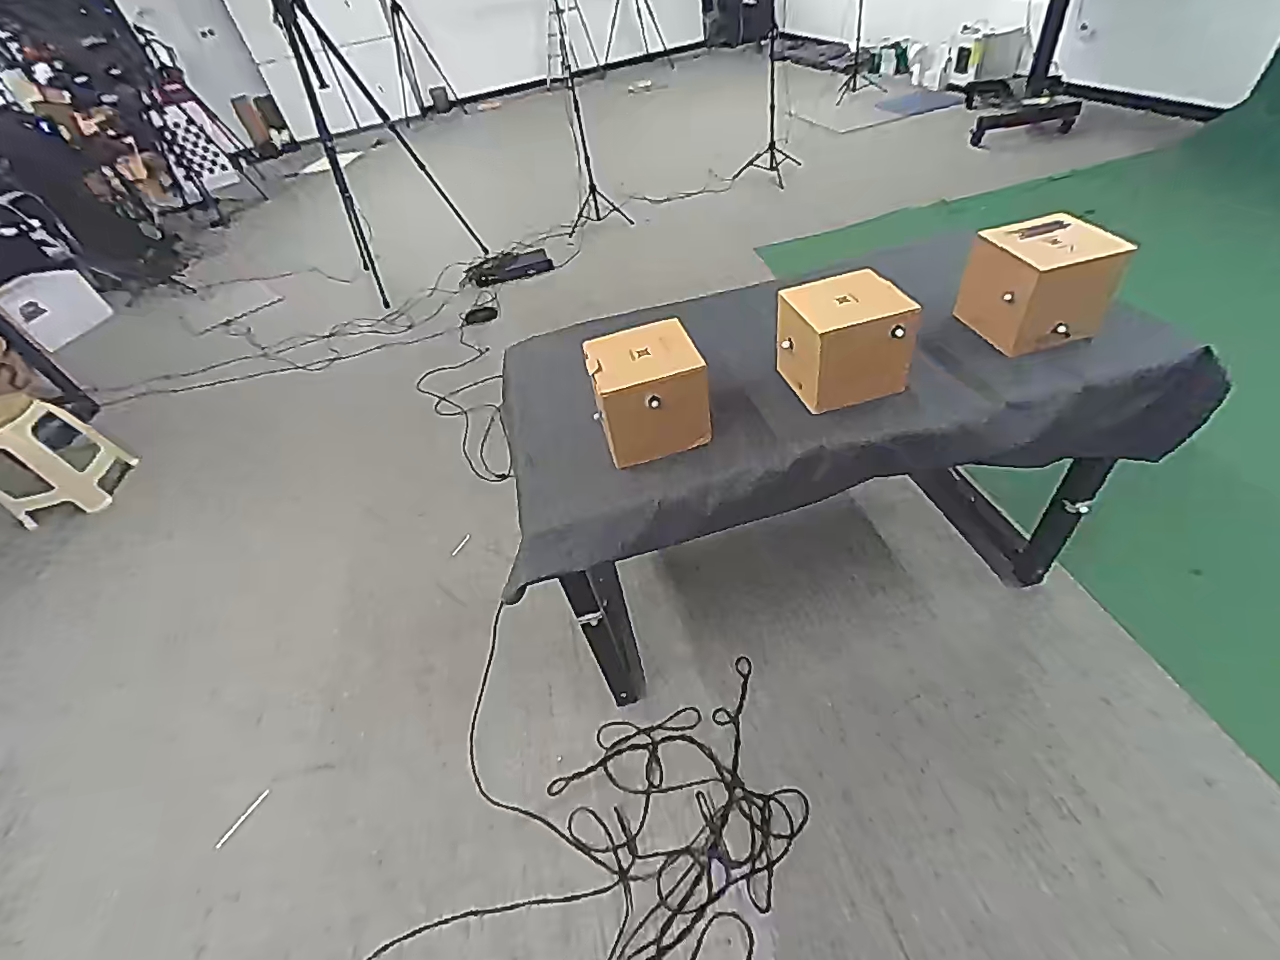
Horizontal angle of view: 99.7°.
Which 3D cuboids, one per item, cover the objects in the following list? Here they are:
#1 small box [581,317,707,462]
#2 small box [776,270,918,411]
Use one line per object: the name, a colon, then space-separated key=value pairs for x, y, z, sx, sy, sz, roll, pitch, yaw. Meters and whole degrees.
small box: x=0.009 y=-0.154 z=0.940 sx=0.179 sy=0.176 sz=0.168 roll=-15 pitch=45 yaw=-5
small box: x=0.355 y=-0.245 z=0.961 sx=0.179 sy=0.176 sz=0.168 roll=-14 pitch=44 yaw=-4
